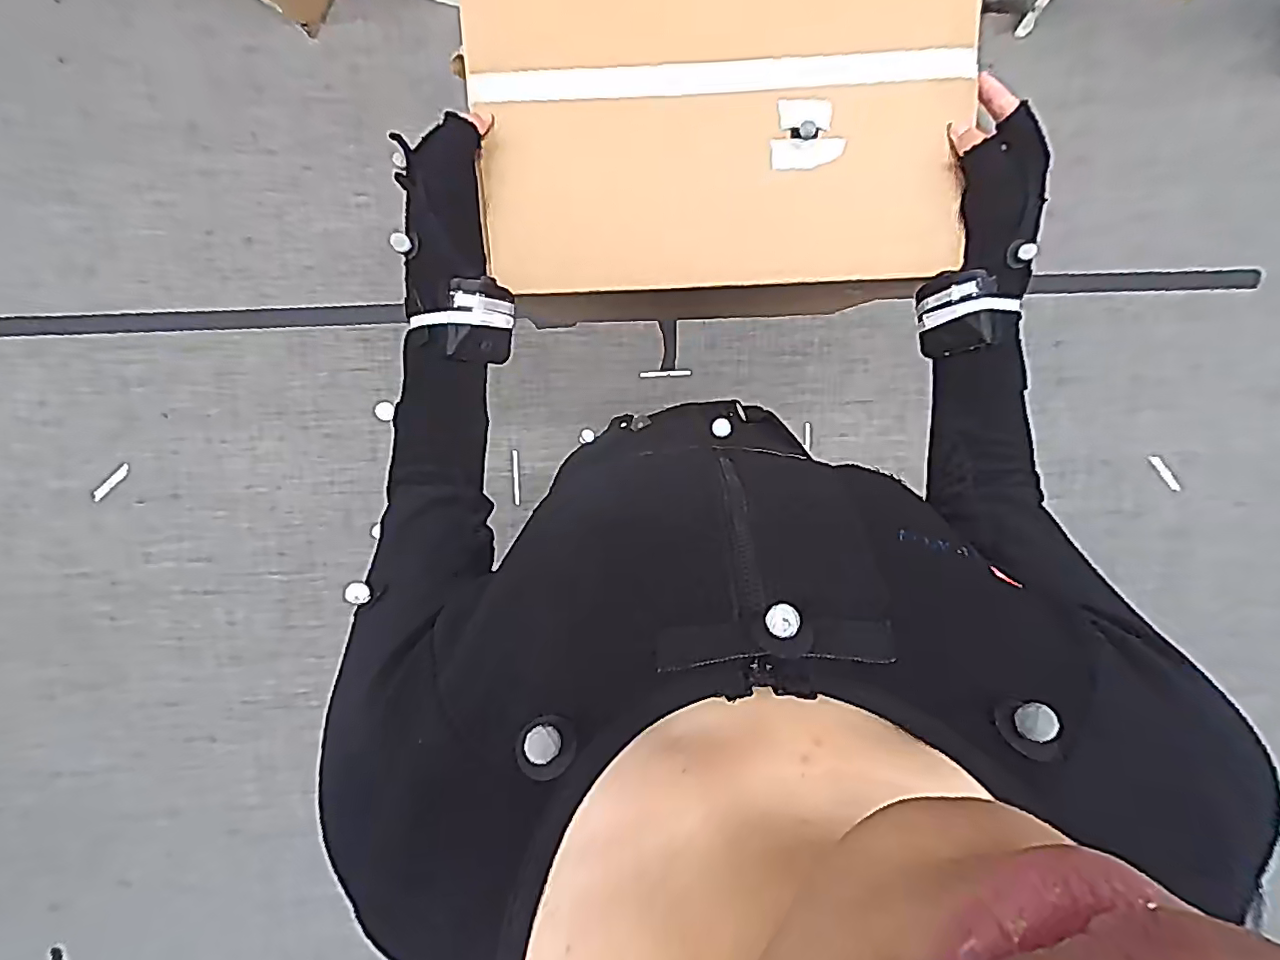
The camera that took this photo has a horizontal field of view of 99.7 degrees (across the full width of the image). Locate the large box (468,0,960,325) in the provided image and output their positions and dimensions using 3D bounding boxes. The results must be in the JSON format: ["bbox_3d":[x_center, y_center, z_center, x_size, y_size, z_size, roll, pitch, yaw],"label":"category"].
[{"bbox_3d":[0.061,-0.353,0.597,0.408,0.320,0.320,-3,102,0],"label":"large box"}]
